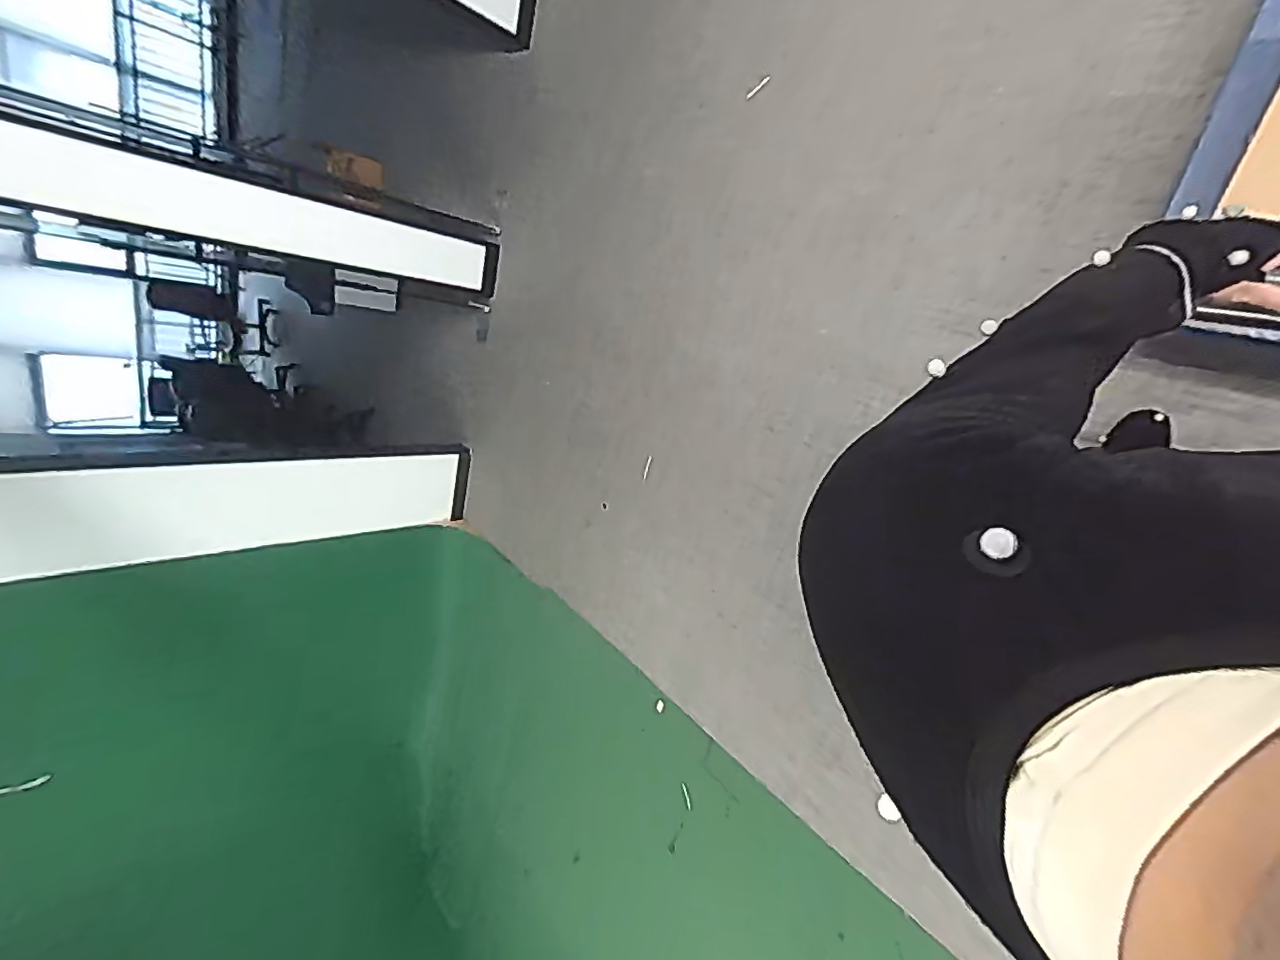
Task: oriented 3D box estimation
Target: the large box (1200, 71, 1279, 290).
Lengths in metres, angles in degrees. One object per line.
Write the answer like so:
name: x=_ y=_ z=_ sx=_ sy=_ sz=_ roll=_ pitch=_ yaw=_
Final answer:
large box: x=1.097 y=-0.498 z=0.769 sx=0.320 sy=0.320 sz=0.408 roll=28 pitch=112 yaw=39
